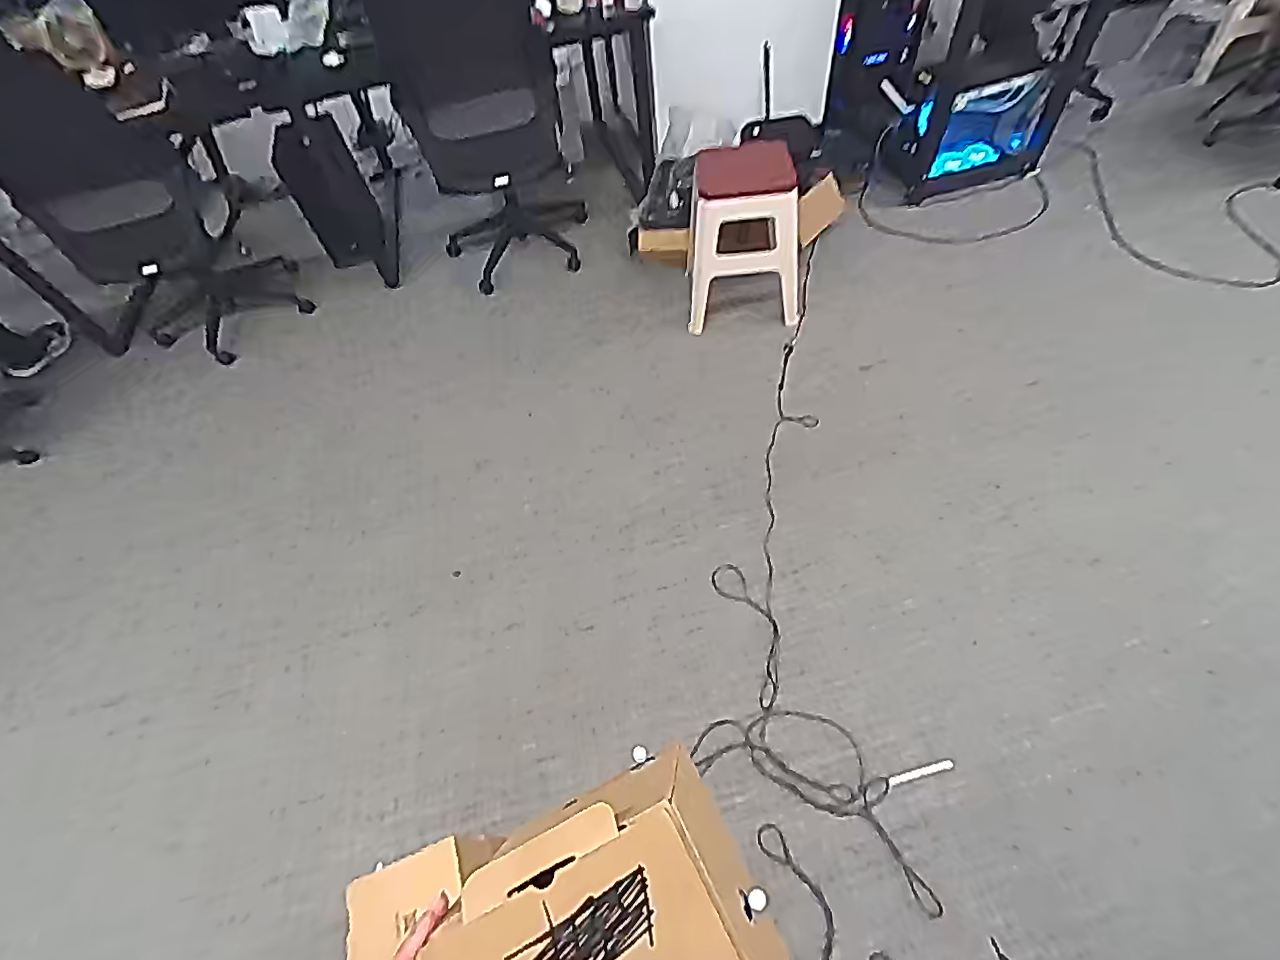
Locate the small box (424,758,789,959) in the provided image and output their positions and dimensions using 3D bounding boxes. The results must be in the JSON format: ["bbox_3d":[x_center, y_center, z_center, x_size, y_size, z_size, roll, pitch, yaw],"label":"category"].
[{"bbox_3d":[-0.003,0.310,0.355,0.168,0.176,0.179,-28,75,-1],"label":"small box"}]

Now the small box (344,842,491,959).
[{"bbox_3d":[-0.329,0.696,0.848,0.179,0.176,0.168,-23,55,-7],"label":"small box"}]
